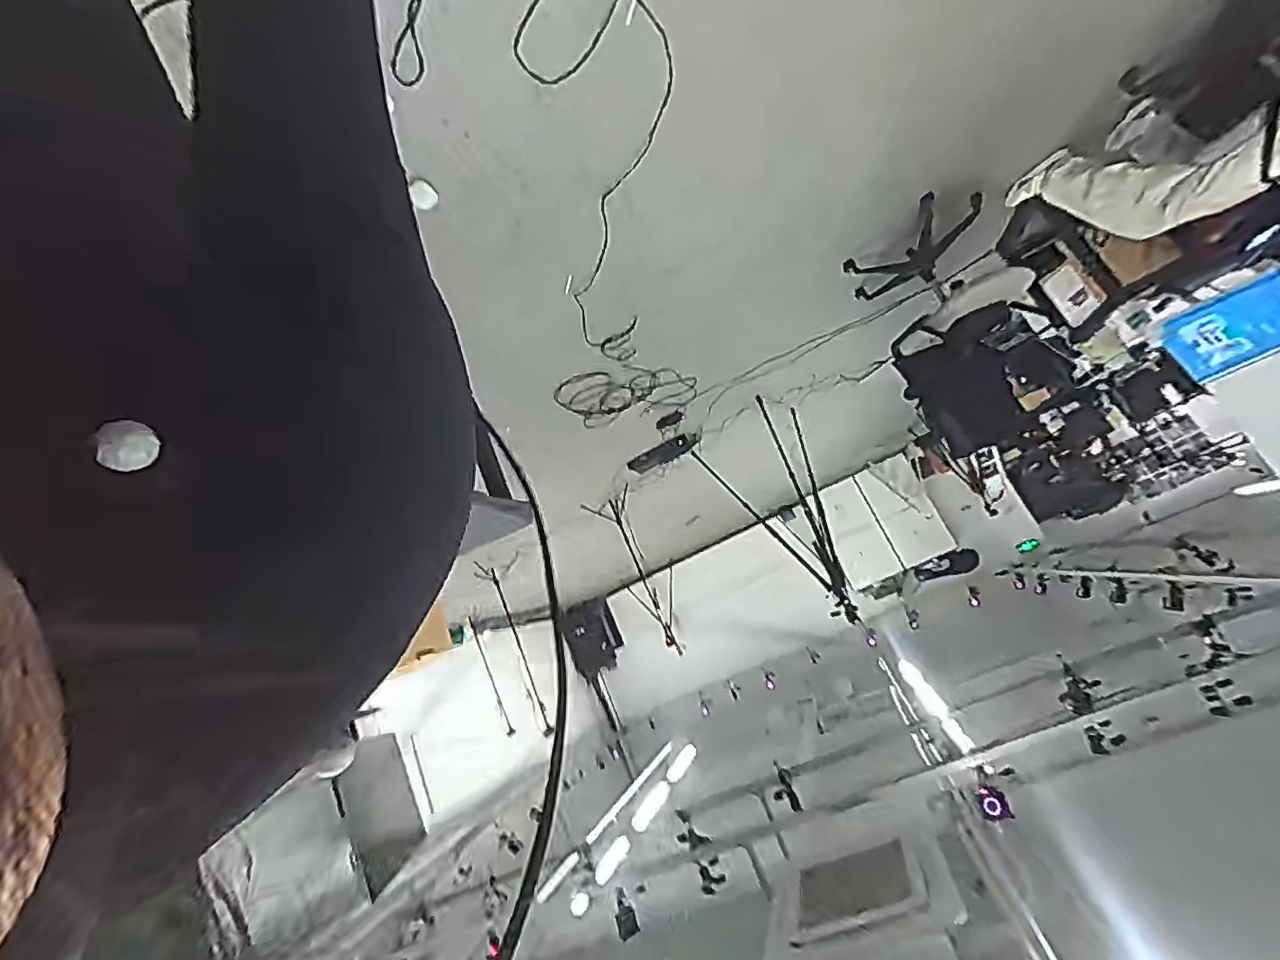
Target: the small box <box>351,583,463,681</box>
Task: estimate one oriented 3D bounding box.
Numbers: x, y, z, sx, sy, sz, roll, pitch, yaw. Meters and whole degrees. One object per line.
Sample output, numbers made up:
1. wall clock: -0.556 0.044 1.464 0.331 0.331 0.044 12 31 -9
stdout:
1. small box: -0.570 0.357 1.312 0.179 0.176 0.168 -33 162 26
